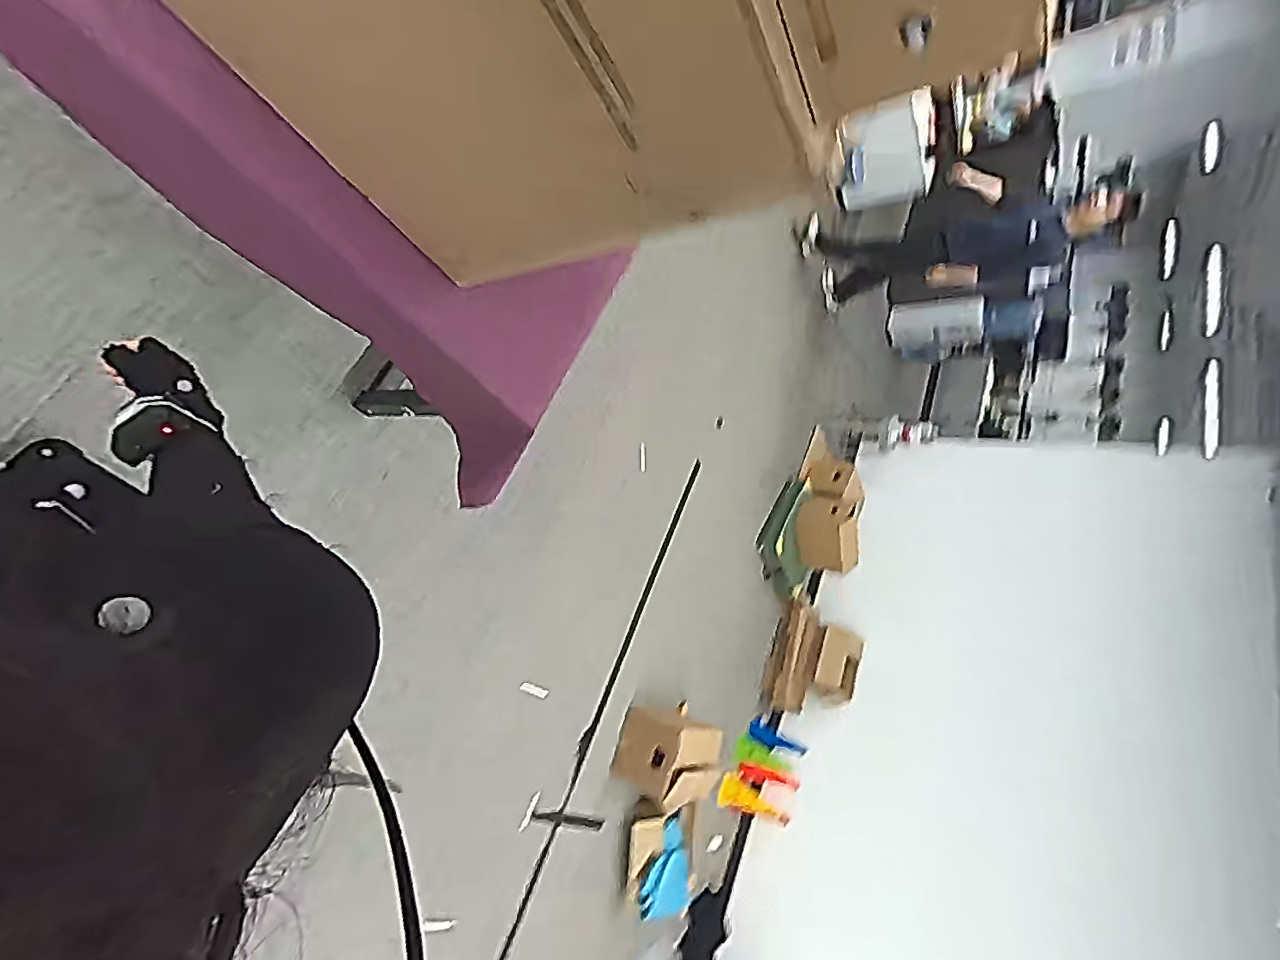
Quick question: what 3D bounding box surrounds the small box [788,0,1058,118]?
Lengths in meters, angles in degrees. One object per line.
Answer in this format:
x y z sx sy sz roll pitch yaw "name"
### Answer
0.213 -0.421 0.409 0.168 0.176 0.179 48 57 -43 "small box"
